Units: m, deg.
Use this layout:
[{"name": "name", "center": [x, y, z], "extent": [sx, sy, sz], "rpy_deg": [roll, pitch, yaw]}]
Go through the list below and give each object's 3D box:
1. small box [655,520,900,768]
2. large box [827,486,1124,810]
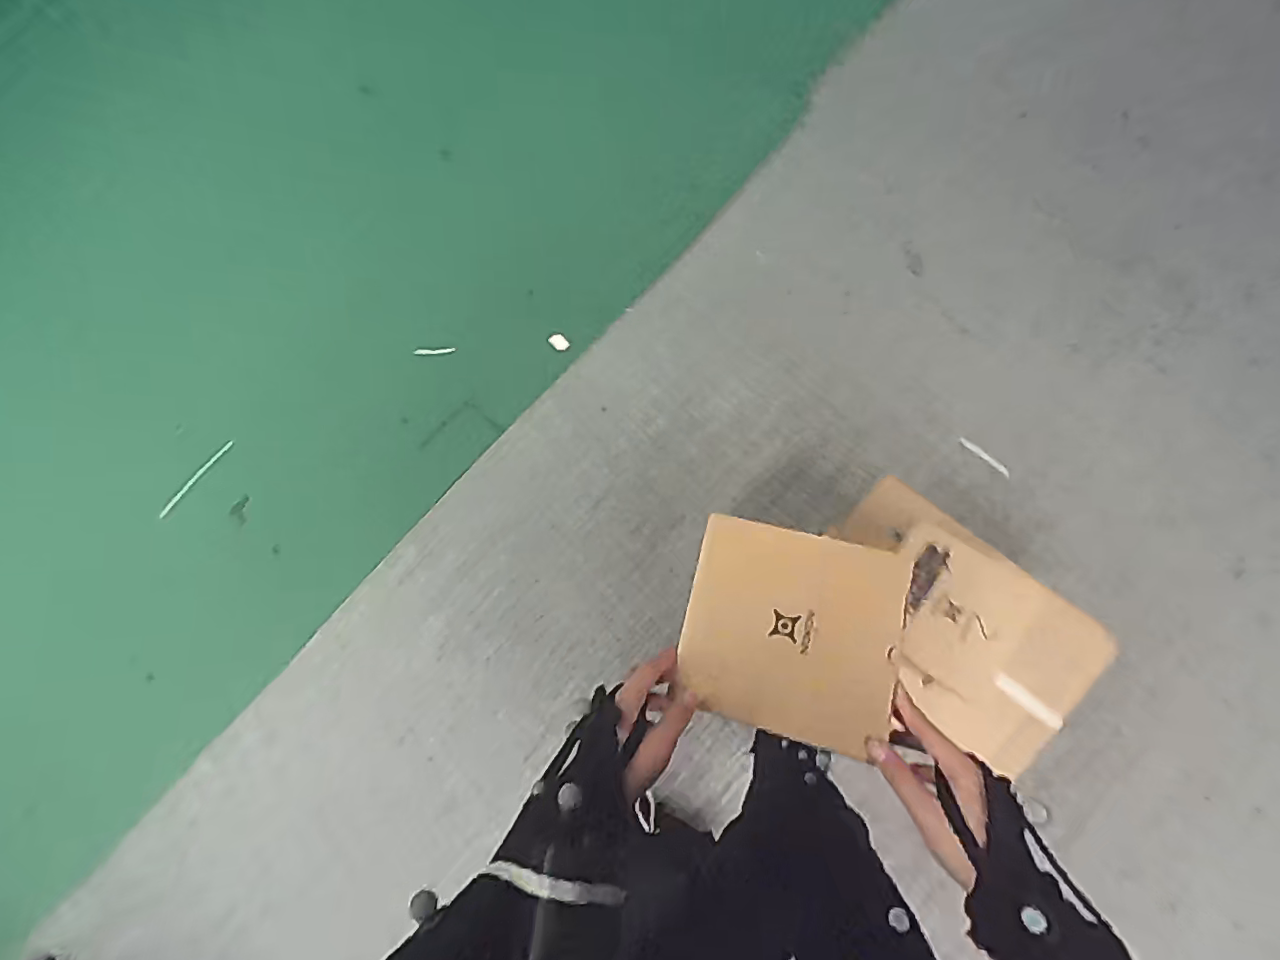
[{"name": "small box", "center": [0.127, 0.152, 0.521], "extent": [0.179, 0.176, 0.168], "rpy_deg": [11, 74, 13]}, {"name": "large box", "center": [0.490, 0.273, 0.978], "extent": [0.408, 0.320, 0.320], "rpy_deg": [41, 89, 17]}]
